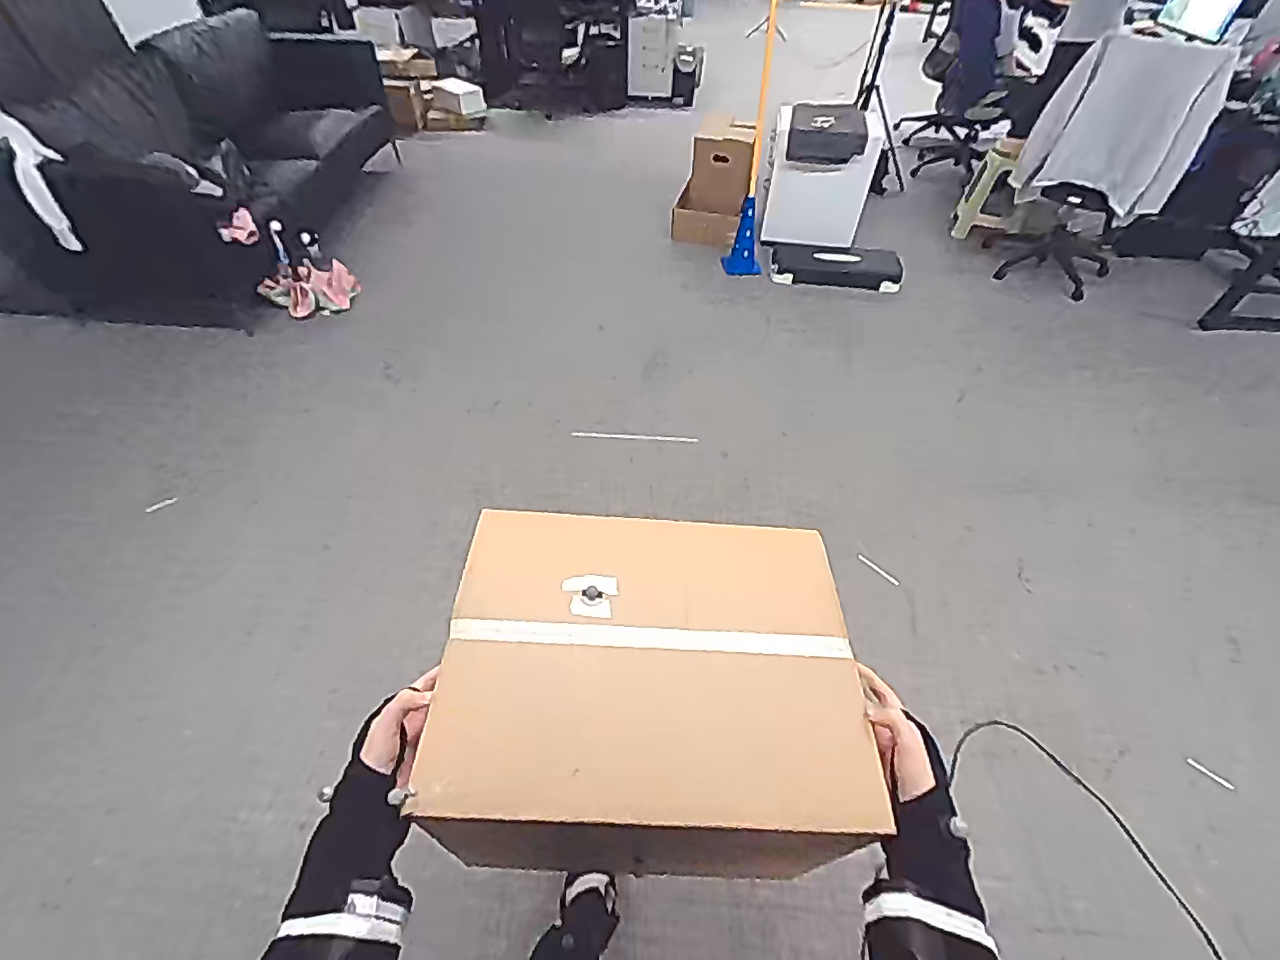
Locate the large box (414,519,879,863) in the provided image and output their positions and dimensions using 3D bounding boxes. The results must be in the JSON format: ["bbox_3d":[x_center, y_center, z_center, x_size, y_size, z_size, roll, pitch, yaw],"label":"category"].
[{"bbox_3d":[0.004,0.267,0.665,0.408,0.320,0.320,3,47,-2],"label":"large box"}]
